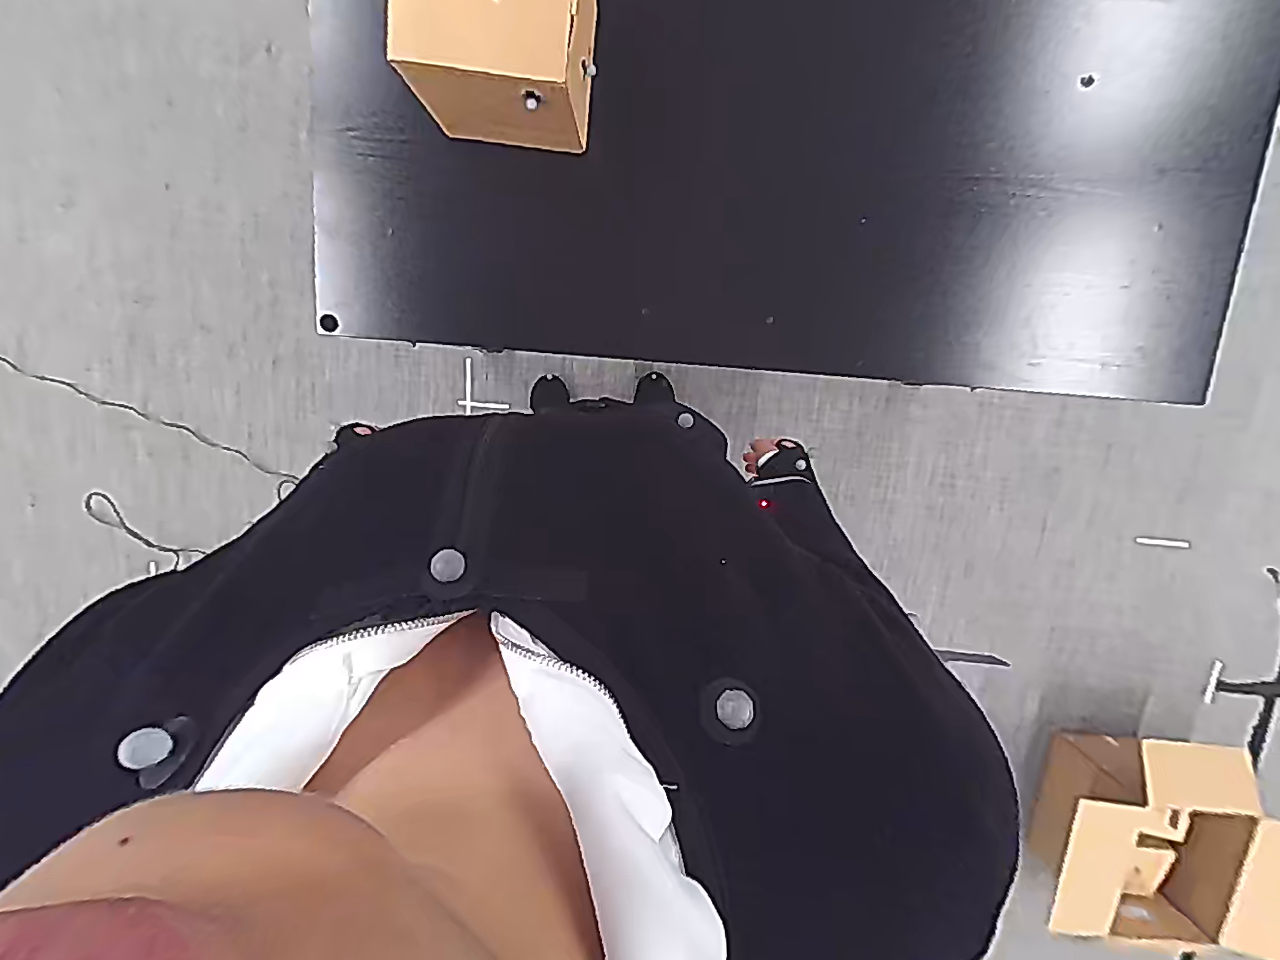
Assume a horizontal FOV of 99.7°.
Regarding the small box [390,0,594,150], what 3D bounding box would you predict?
[{"bbox_3d":[-0.149,-0.491,0.593,0.179,0.176,0.168,6,100,-3],"label":"small box"}]
